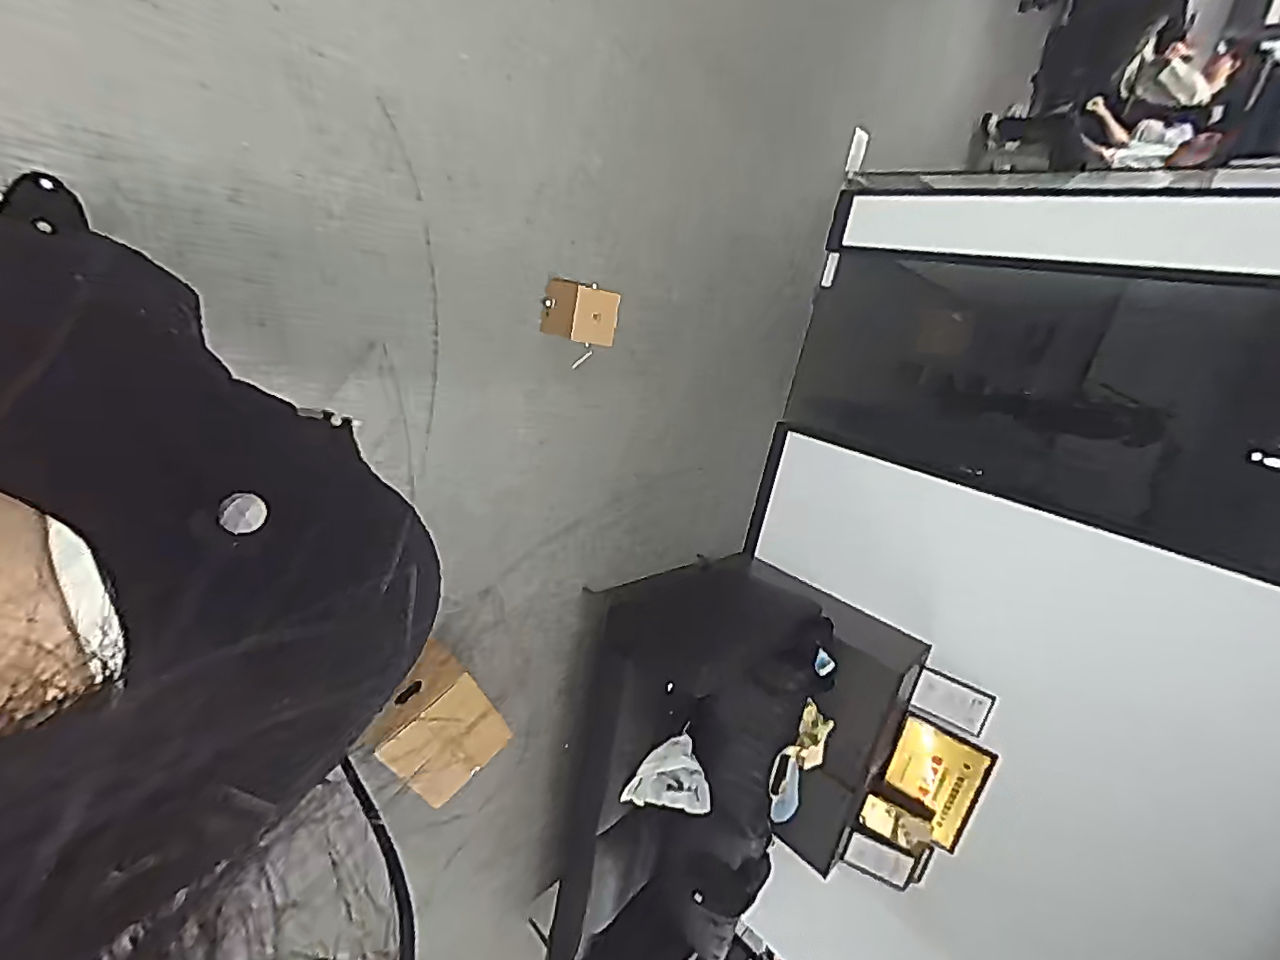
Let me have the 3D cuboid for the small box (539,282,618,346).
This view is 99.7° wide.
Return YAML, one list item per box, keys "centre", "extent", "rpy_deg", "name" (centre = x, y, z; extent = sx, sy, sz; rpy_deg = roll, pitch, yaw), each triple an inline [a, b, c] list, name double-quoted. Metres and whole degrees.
- centre: [-0.200, -0.537, 1.744]
  extent: [0.179, 0.176, 0.168]
  rpy_deg: [-6, 113, -45]
  name: "small box"
